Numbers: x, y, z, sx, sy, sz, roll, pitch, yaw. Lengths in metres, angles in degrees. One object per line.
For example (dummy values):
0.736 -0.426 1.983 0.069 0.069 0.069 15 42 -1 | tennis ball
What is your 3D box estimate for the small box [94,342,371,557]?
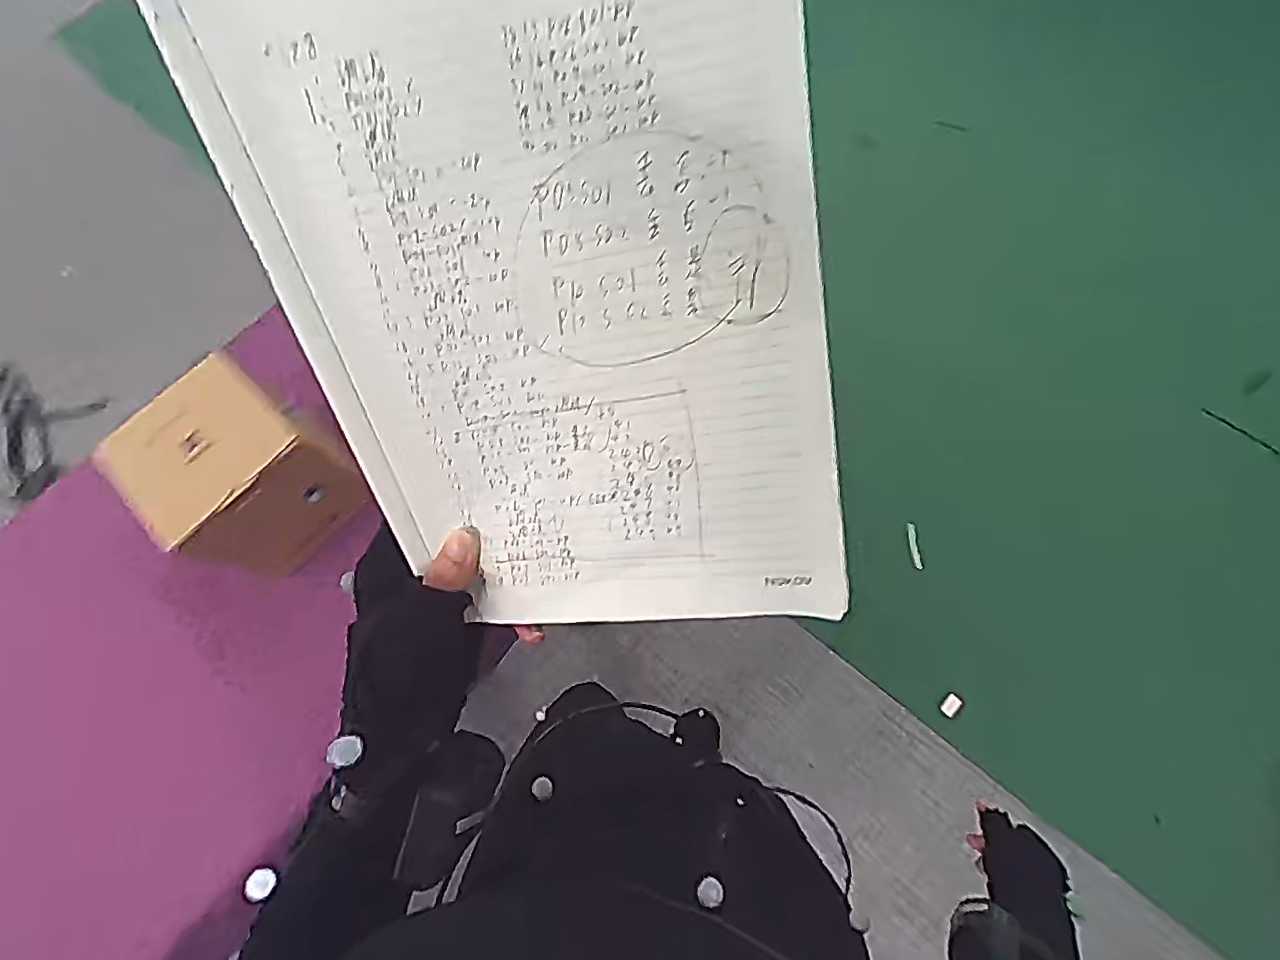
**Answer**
-0.472 -0.023 0.656 0.179 0.176 0.168 40 78 16 | small box
